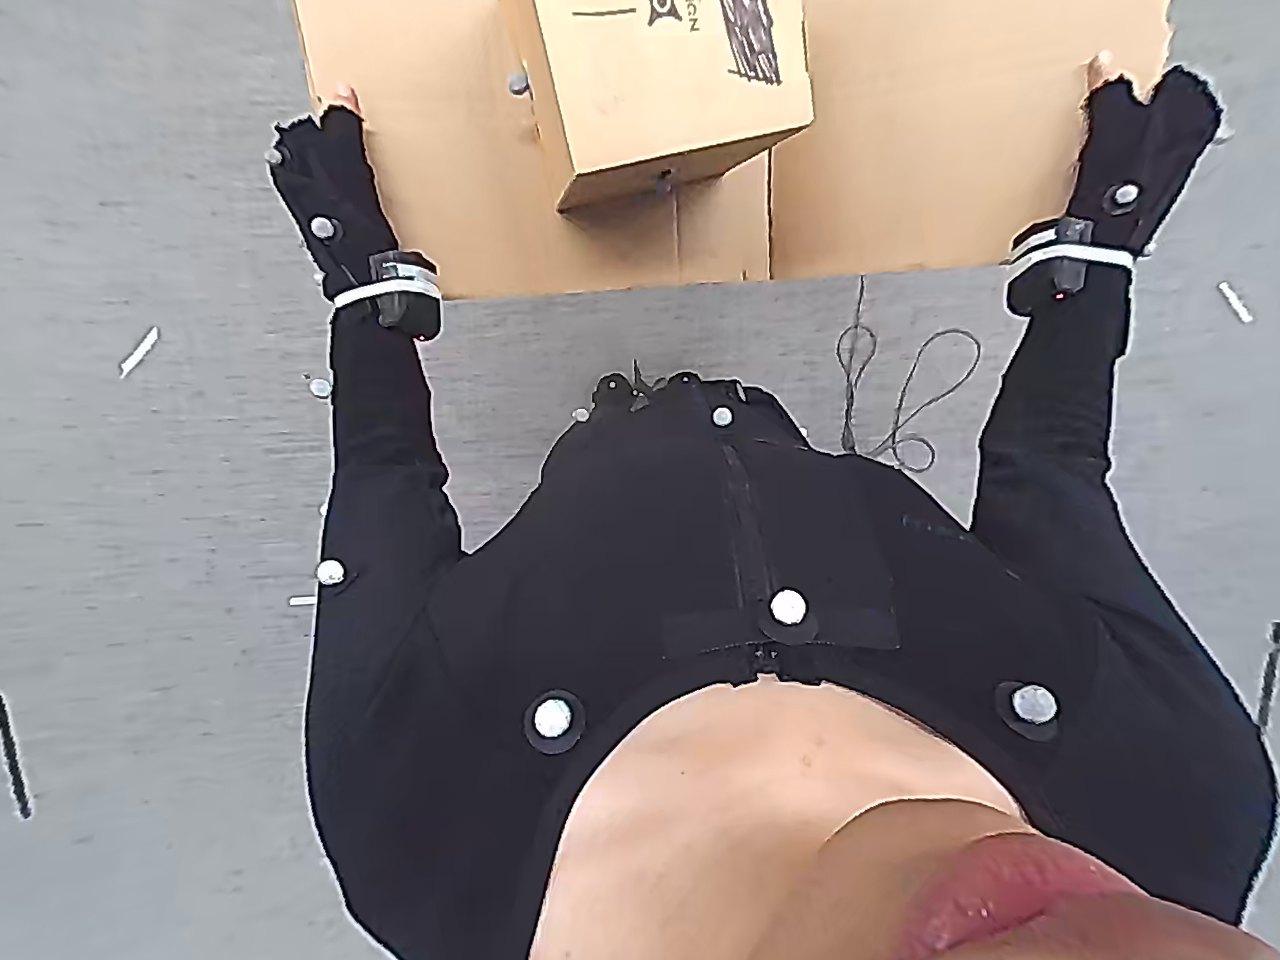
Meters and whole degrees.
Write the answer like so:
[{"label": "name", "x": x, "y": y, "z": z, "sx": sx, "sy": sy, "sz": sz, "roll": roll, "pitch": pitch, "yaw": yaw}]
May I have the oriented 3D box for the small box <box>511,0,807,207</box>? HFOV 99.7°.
[{"label": "small box", "x": 0.005, "y": -0.328, "z": 0.423, "sx": 0.179, "sy": 0.176, "sz": 0.168, "roll": -16, "pitch": 111, "yaw": -7}]
